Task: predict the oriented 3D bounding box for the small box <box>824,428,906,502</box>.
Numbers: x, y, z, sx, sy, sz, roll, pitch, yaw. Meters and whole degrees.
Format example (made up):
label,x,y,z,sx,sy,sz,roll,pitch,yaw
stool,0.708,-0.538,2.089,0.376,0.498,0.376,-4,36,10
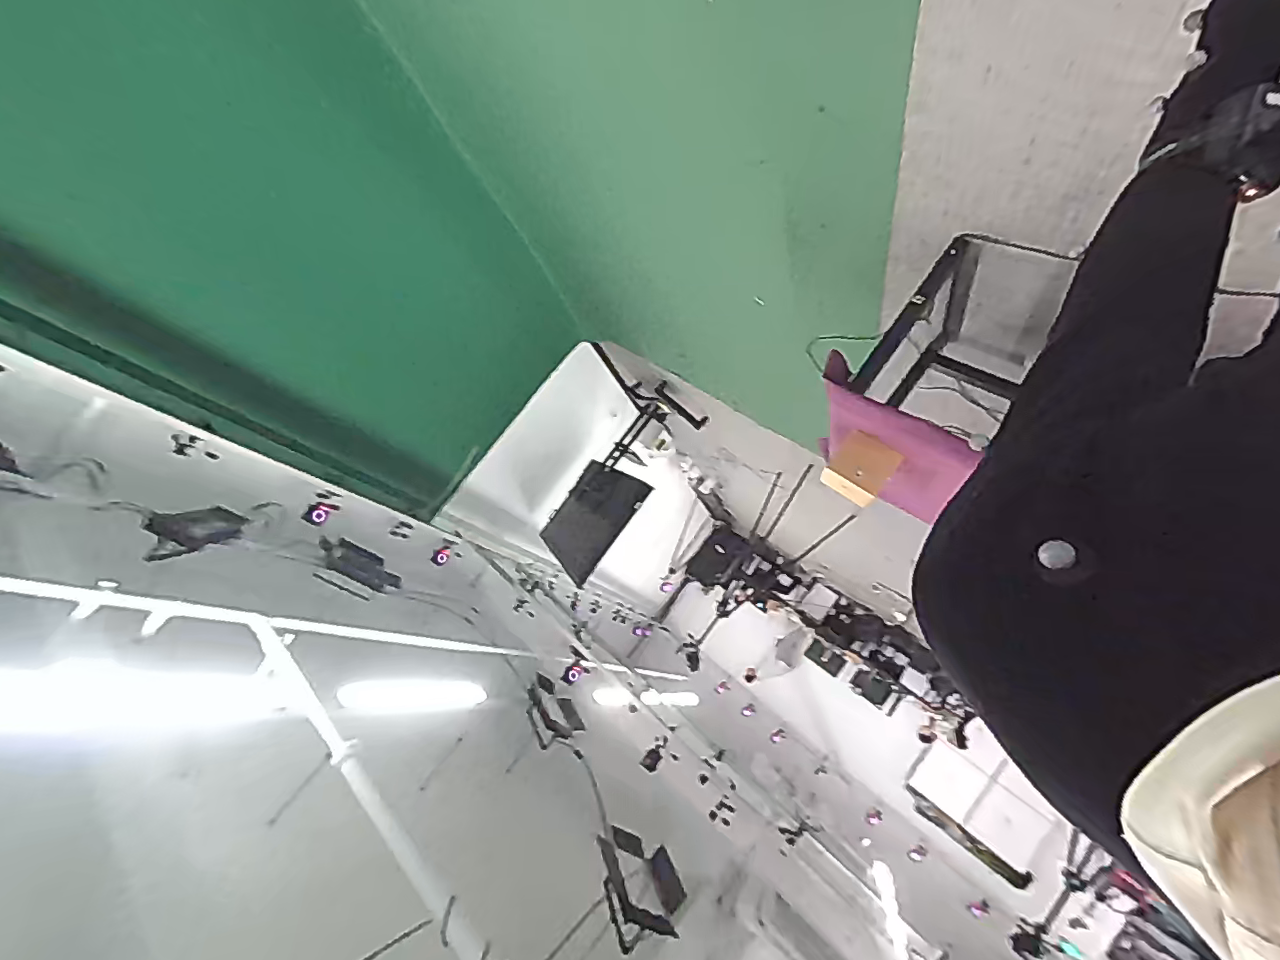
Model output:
label,x,y,z,sx,sy,sz,roll,pitch,yaw
small box,0.744,-0.055,1.800,0.179,0.176,0.168,35,174,18
